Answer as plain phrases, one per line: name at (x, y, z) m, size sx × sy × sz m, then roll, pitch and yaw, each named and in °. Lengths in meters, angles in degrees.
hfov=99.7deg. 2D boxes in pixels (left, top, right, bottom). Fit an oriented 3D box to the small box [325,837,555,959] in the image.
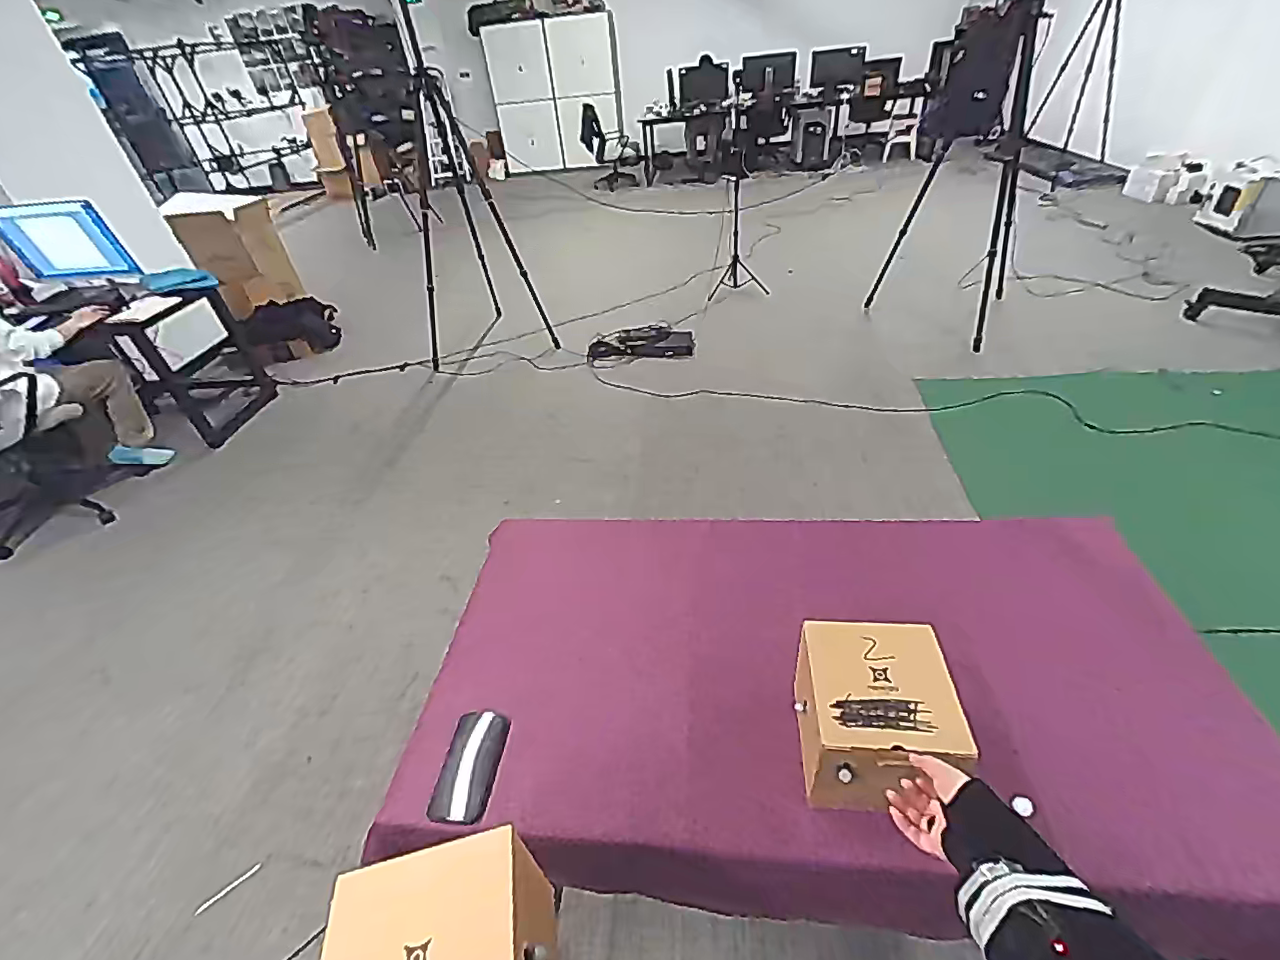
small box at (-0.173, 0.471, 0.490) m, size 0.168 × 0.176 × 0.179 m, roll -14°, pitch 37°, yaw -5°
